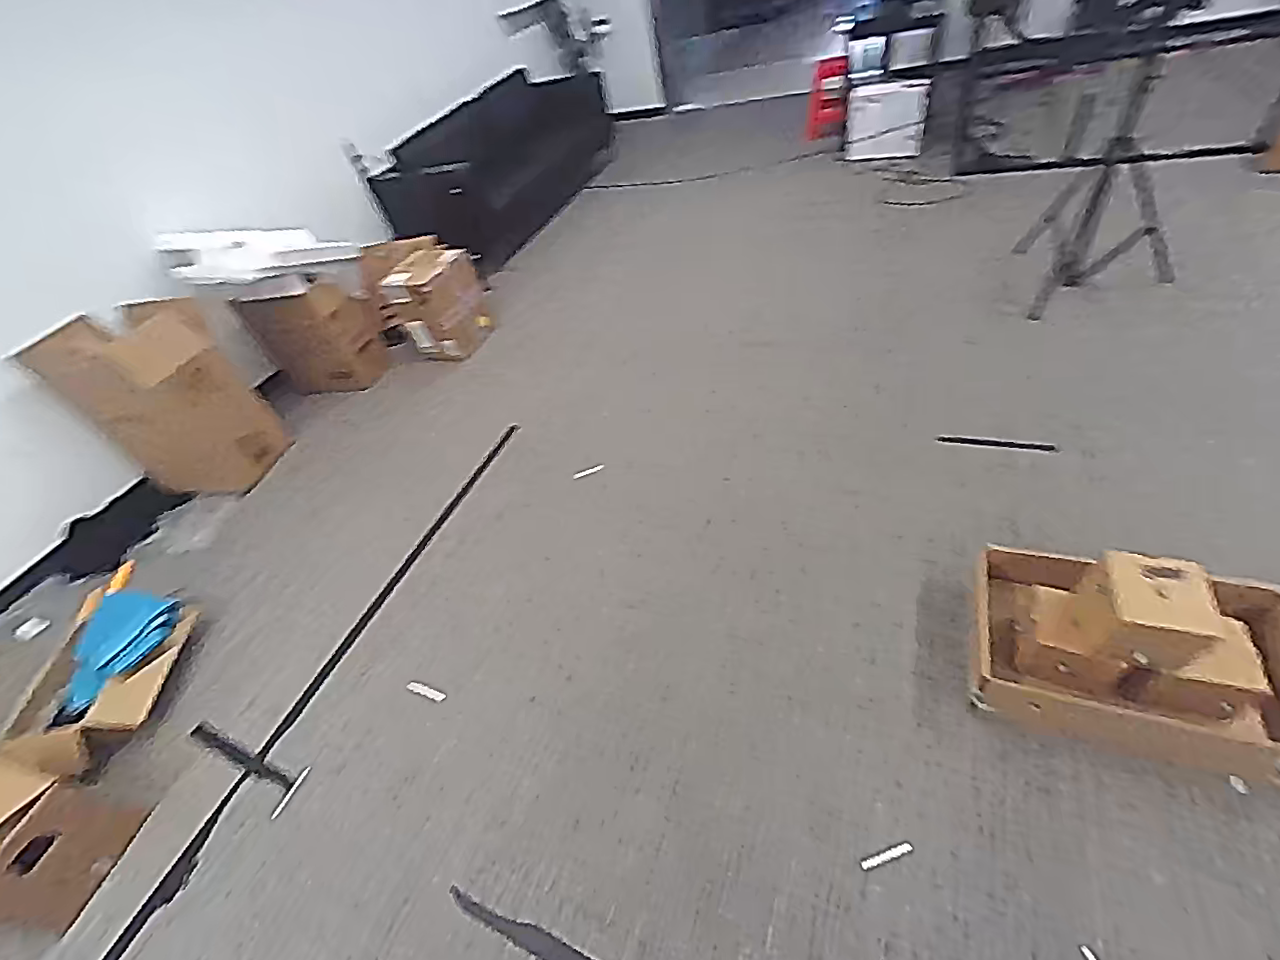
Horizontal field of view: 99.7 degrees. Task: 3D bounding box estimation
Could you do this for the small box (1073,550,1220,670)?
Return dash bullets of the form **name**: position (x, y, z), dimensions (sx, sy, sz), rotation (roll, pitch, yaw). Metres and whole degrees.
- **small box**: position (1.079, 0.281, 1.173), dimensions (0.168, 0.176, 0.179), rotation (7, 50, 20)
